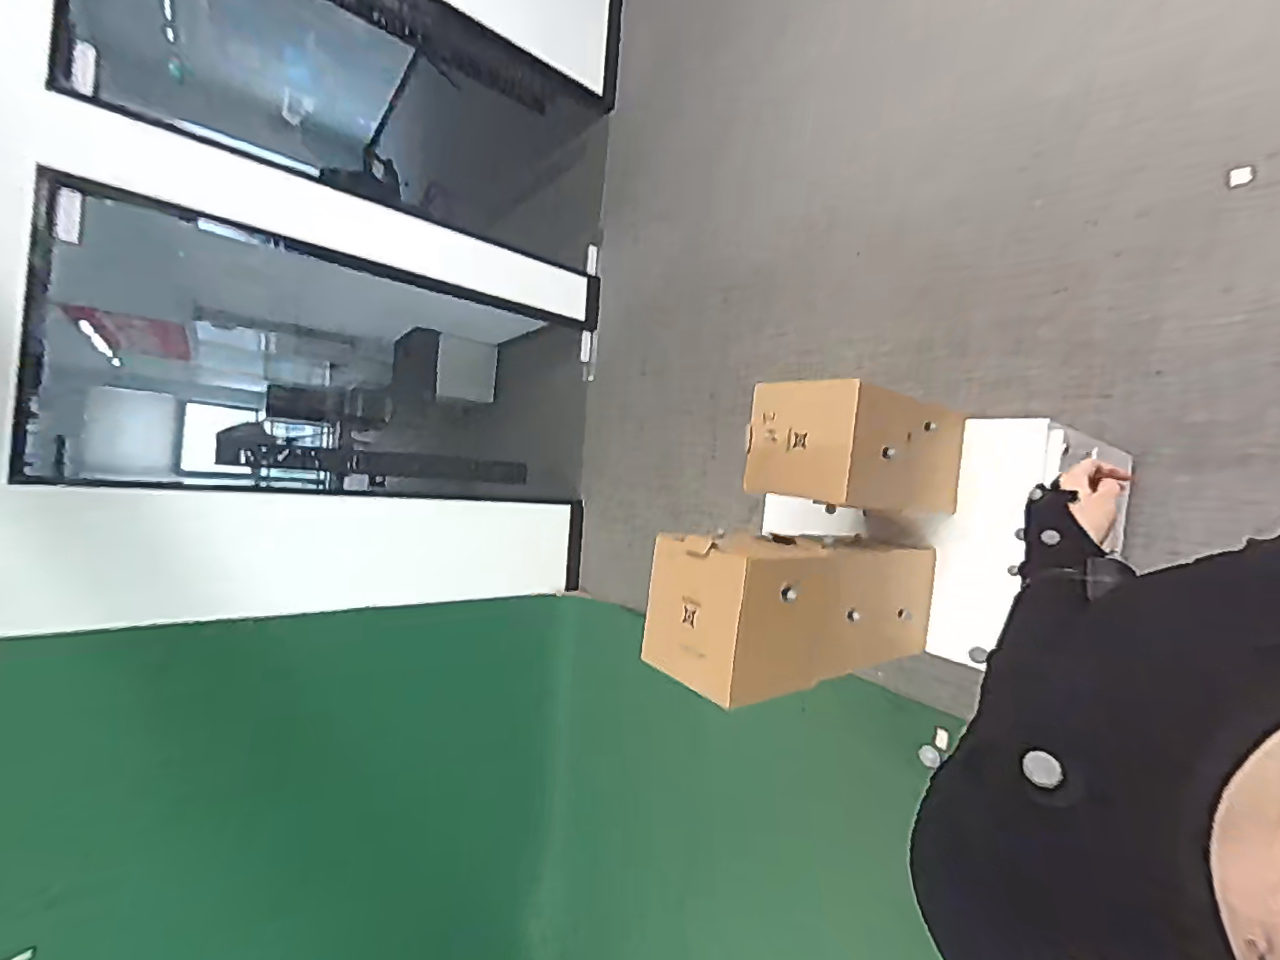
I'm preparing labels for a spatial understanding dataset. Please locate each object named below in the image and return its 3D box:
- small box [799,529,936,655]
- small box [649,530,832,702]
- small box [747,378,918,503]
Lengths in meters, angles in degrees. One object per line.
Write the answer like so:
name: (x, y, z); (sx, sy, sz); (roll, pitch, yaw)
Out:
small box: (0.387, 0.182, 0.932); (0.168, 0.176, 0.179); (6, 90, 52)
small box: (0.135, 0.166, 0.722); (0.168, 0.176, 0.179); (8, 93, 53)
small box: (0.289, -0.057, 0.811); (0.179, 0.176, 0.168); (9, 94, 53)
